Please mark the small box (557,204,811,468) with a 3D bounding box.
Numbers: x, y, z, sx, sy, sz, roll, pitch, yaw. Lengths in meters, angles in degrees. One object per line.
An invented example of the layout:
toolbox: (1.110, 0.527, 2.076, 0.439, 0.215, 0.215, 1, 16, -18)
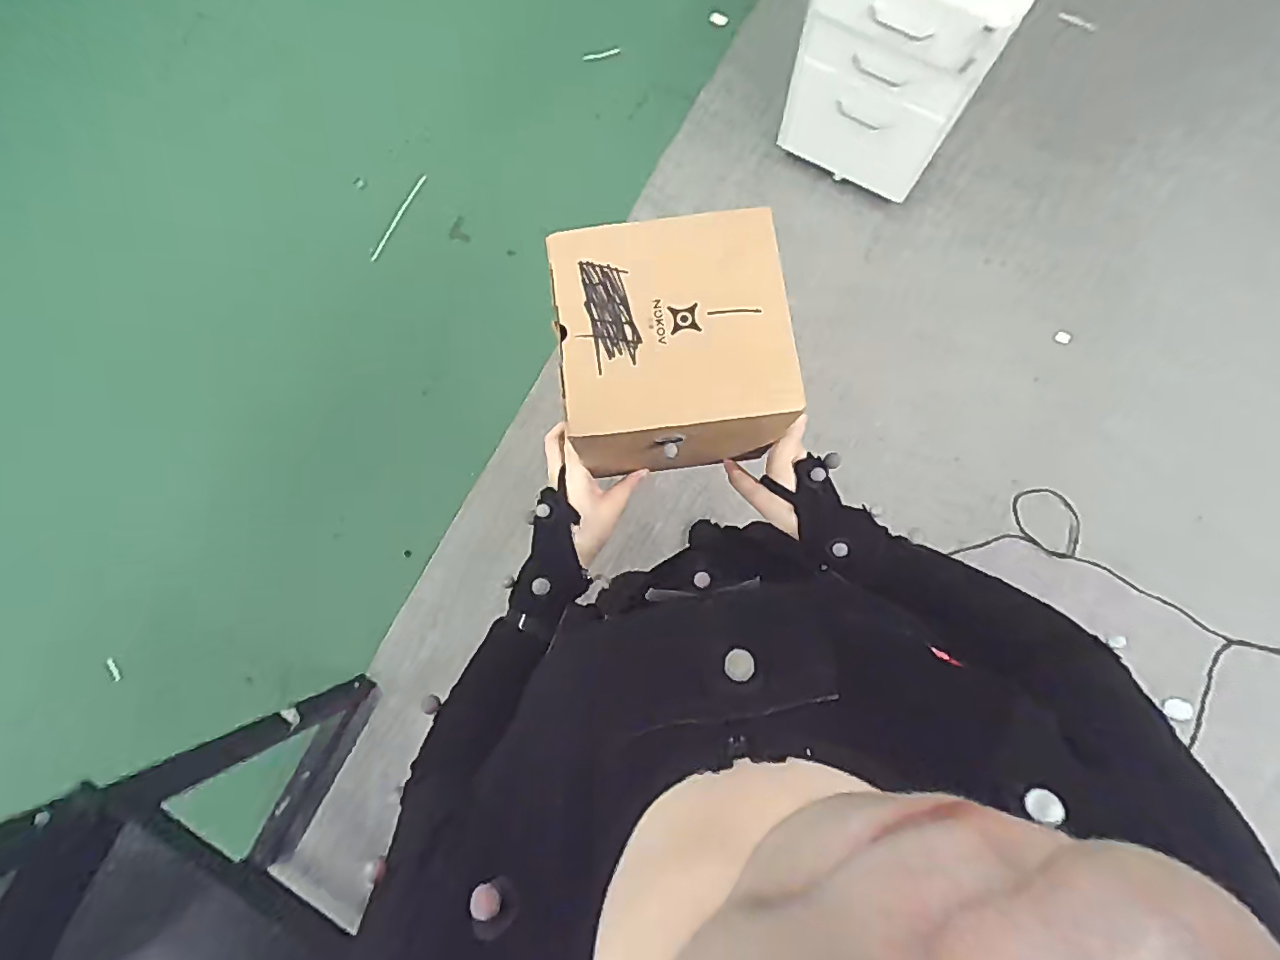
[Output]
small box: (0.031, -0.110, 0.479, 0.179, 0.176, 0.168, -6, 81, -1)
